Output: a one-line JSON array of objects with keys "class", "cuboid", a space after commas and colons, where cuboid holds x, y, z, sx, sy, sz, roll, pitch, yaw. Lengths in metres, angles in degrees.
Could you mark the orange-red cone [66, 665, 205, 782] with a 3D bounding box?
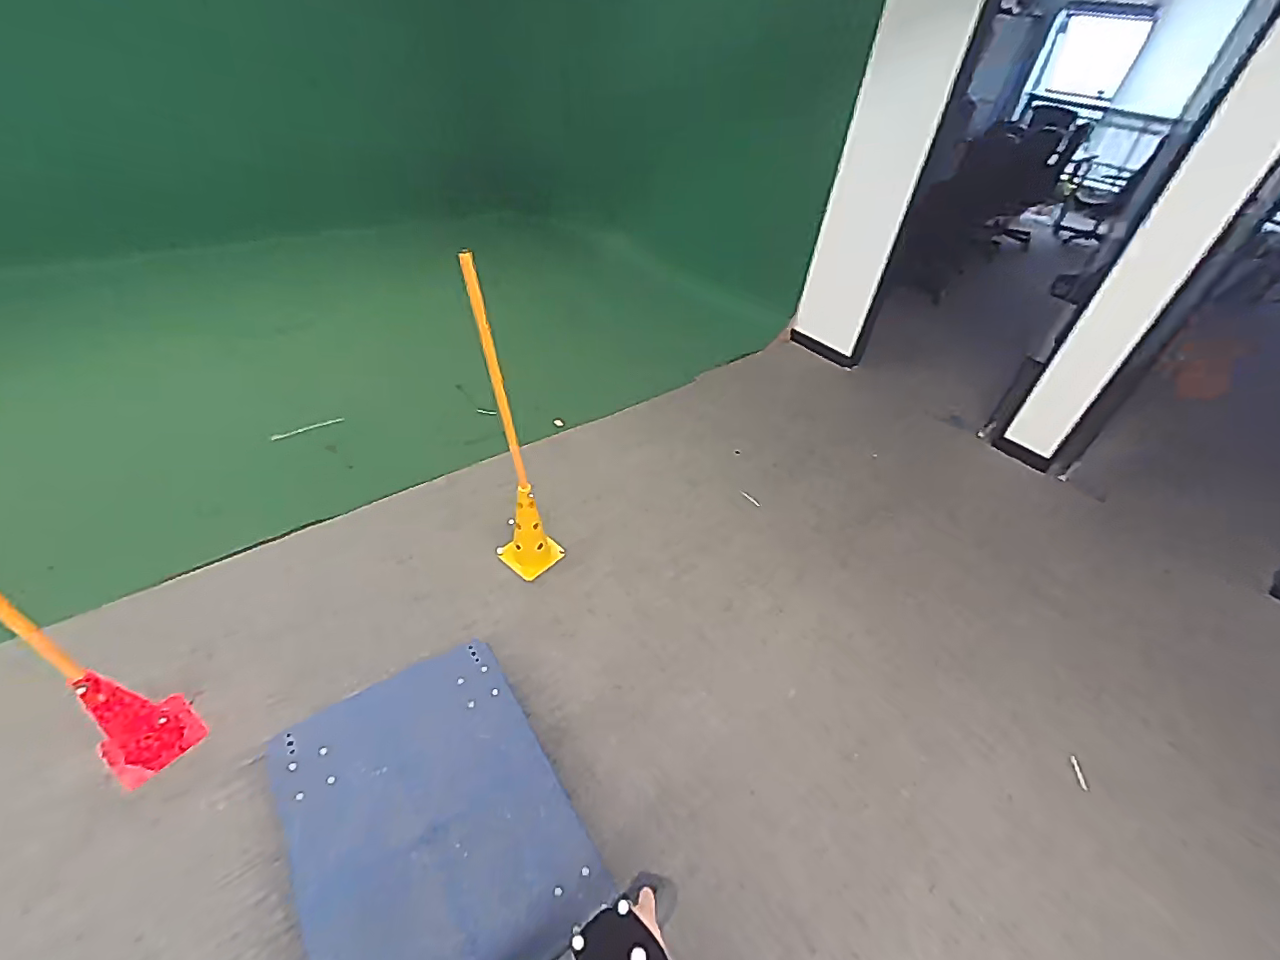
[{"class": "orange-red cone", "cuboid": [-1.334, 0.579, 1.381, 0.198, 0.360, 0.199, 29, 48, 24]}]
